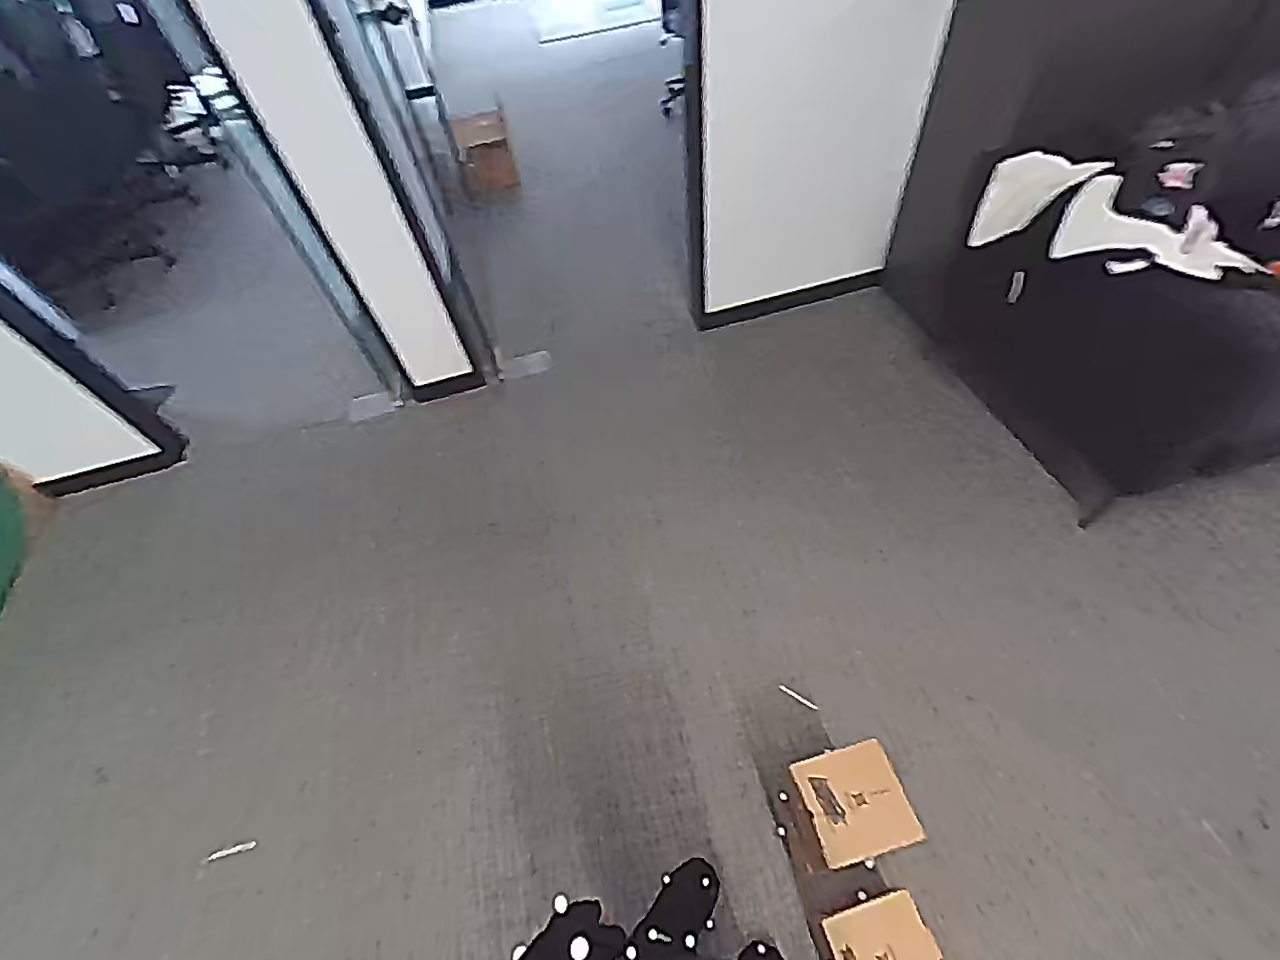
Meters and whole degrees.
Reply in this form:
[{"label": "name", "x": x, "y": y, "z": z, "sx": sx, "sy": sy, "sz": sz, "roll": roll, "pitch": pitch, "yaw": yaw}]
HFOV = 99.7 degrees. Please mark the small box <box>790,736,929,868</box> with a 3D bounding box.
[{"label": "small box", "x": 0.394, "y": 0.606, "z": 1.012, "sx": 0.179, "sy": 0.176, "sz": 0.168, "roll": -15, "pitch": 53, "yaw": -5}]
